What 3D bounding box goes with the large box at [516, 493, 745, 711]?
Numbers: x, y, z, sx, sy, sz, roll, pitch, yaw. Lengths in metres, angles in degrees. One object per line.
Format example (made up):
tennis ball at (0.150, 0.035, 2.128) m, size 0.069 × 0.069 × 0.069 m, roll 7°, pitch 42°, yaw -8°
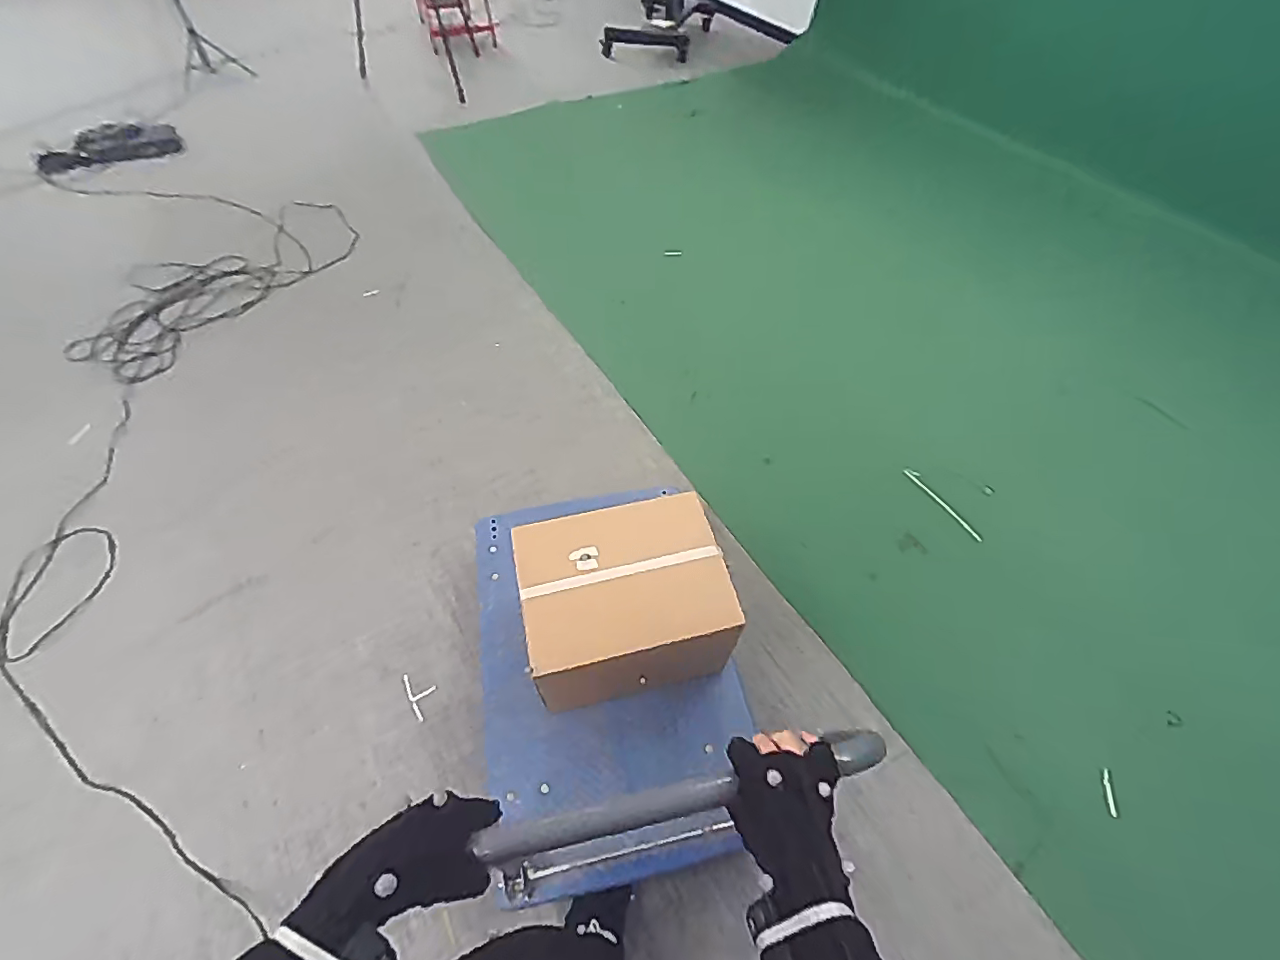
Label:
large box at (-0.028, 0.276, 1.203) m, size 0.408 × 0.320 × 0.320 m, roll -13°, pitch 56°, yaw -9°
